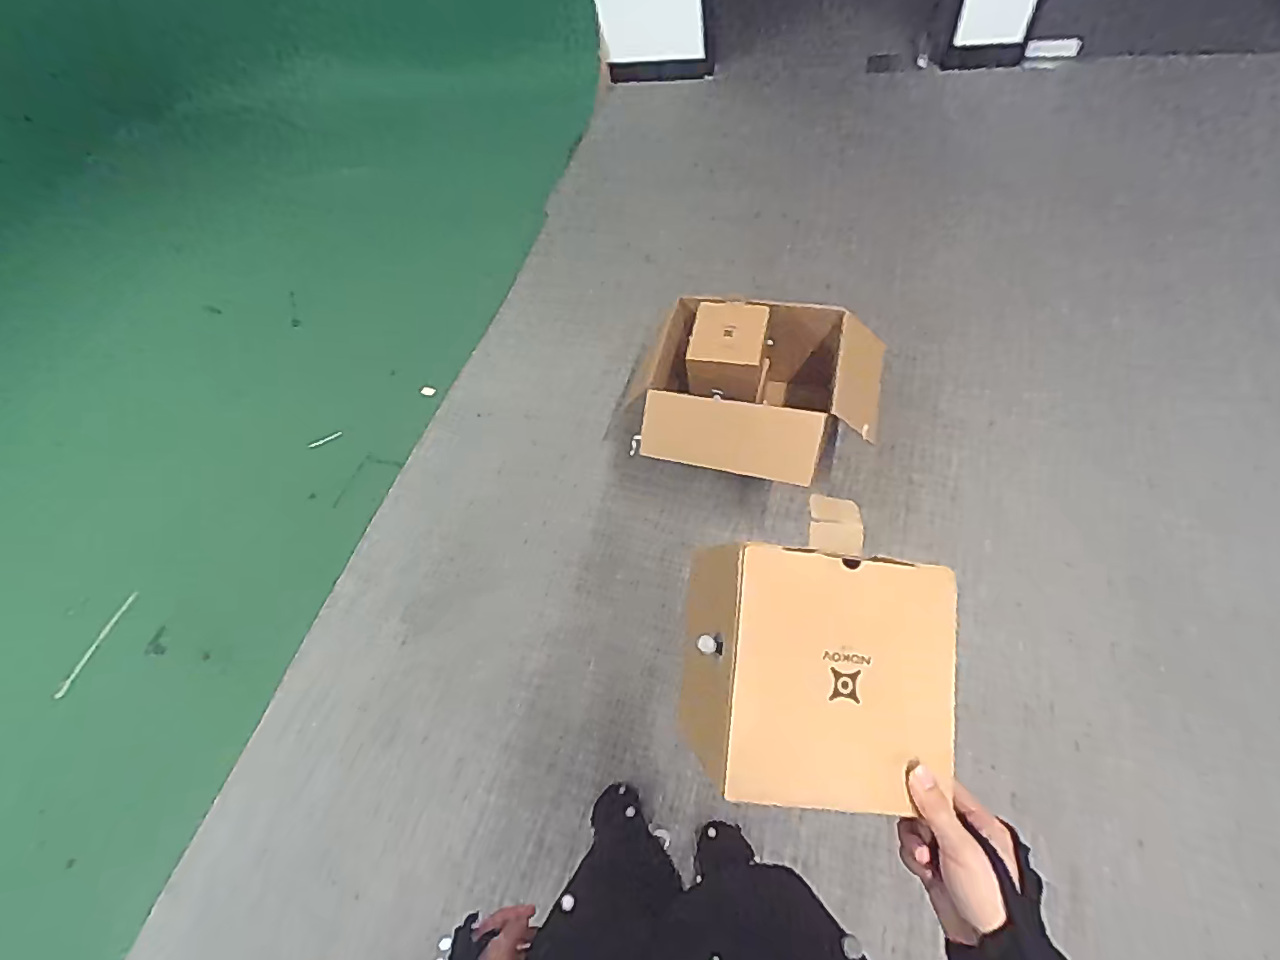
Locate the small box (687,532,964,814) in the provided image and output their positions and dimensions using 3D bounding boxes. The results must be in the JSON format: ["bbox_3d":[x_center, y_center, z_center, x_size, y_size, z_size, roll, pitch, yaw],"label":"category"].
[{"bbox_3d":[0.139,0.146,0.457,0.168,0.176,0.179,8,79,-5],"label":"small box"}]

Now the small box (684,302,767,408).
[{"bbox_3d":[0.207,-0.301,1.307,0.168,0.176,0.179,9,66,14],"label":"small box"}]
